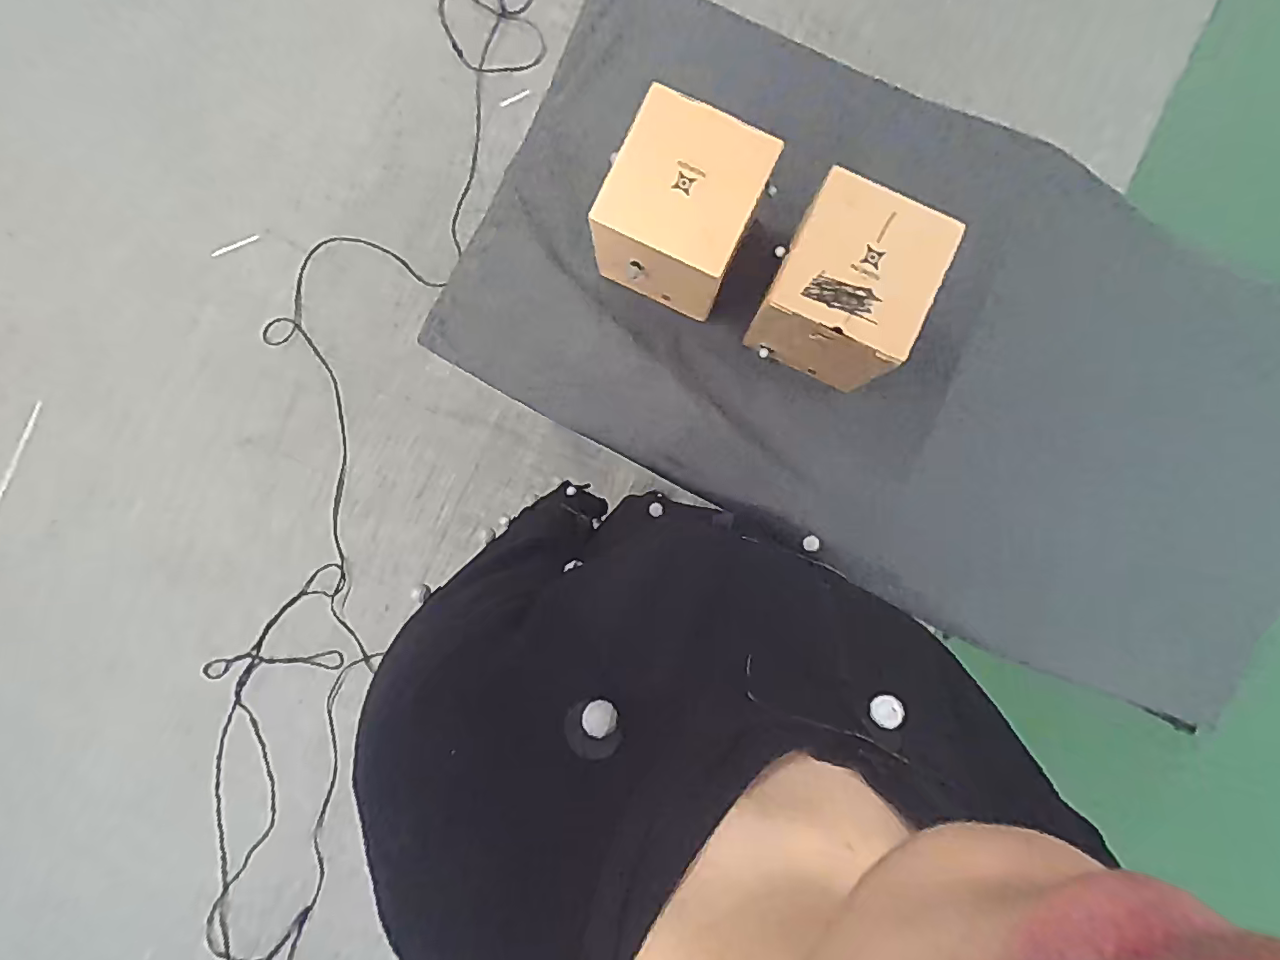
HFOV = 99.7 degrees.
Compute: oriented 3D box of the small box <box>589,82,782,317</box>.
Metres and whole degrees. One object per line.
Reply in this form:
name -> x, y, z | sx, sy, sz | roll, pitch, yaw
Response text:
small box -> 0.053, -0.334, 0.684 | 0.168, 0.176, 0.179 | 25, 89, 1
